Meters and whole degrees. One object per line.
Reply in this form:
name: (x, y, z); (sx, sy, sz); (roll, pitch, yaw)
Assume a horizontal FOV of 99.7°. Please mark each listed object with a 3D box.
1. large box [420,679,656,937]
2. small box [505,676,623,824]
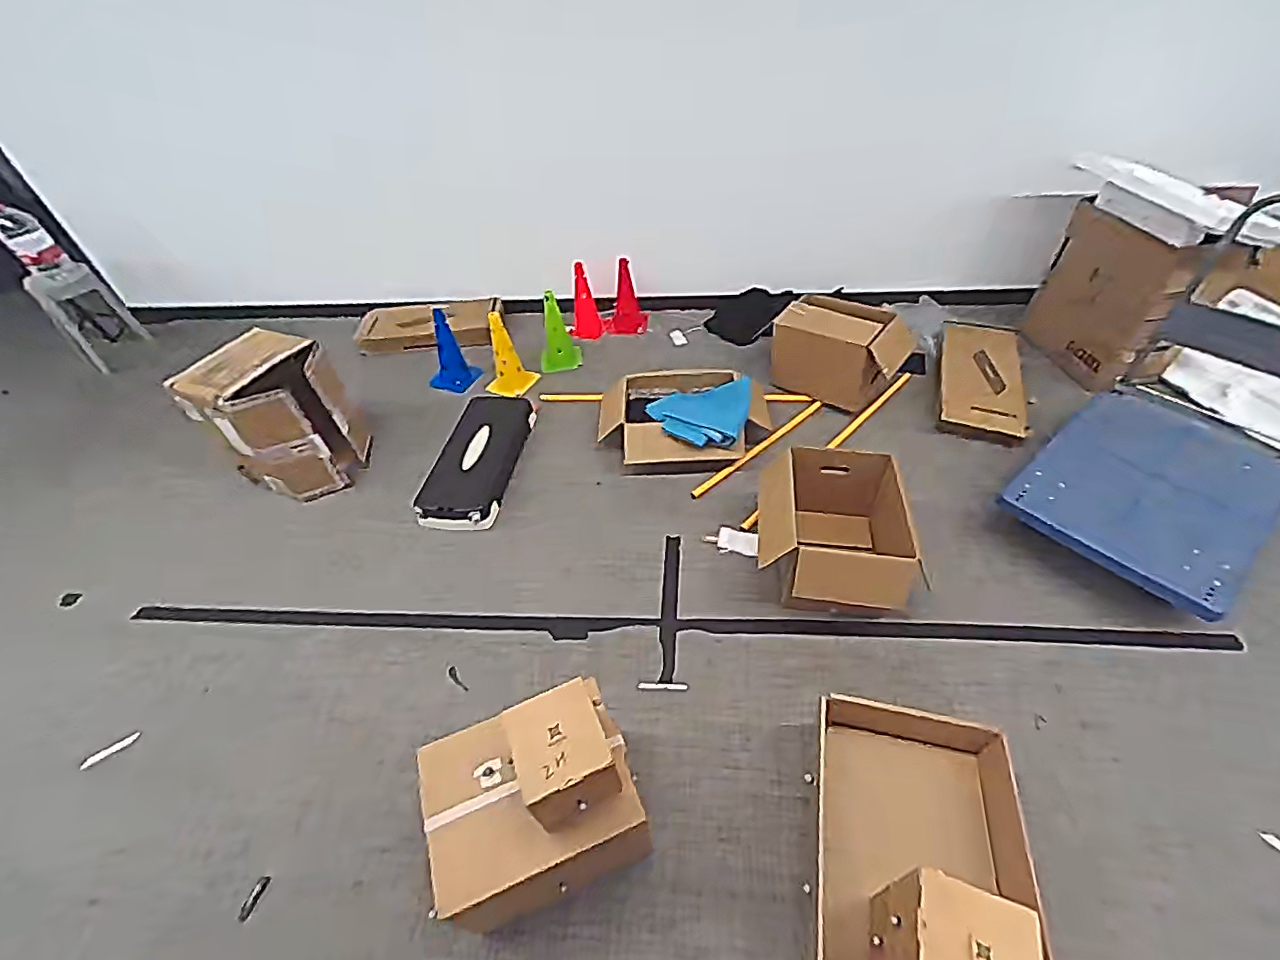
large box: (-0.211, 0.714, 1.187); (0.408, 0.320, 0.320); (-20, 47, -13)
small box: (-0.141, 0.515, 1.031); (0.168, 0.176, 0.179); (-21, 48, -13)
